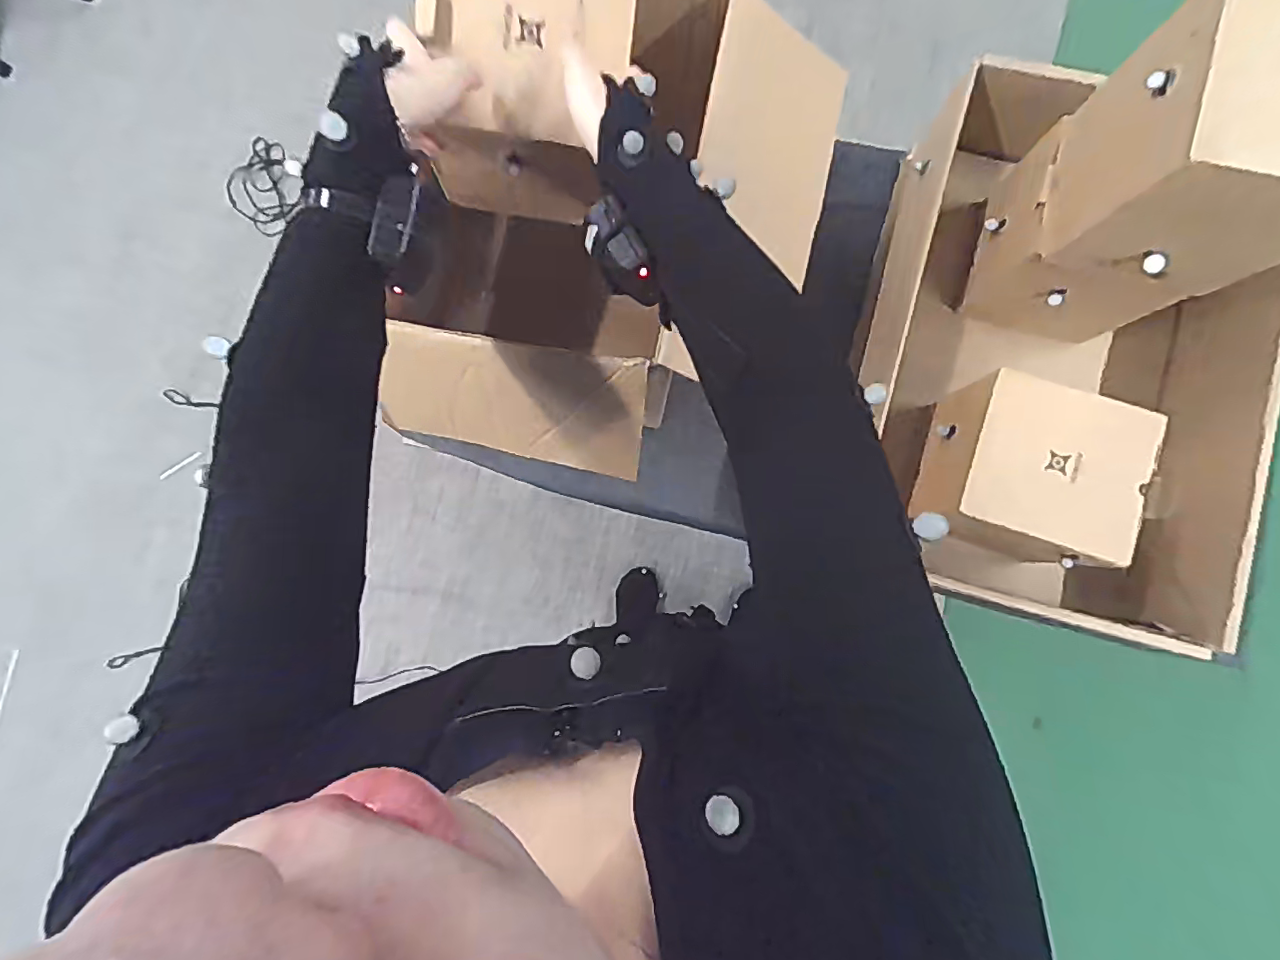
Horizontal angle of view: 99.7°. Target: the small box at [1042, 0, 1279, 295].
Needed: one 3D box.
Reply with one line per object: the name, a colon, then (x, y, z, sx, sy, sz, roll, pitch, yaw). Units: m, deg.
small box: (0.520, -0.301, 0.499, 0.168, 0.176, 0.179, 15, 88, 4)
